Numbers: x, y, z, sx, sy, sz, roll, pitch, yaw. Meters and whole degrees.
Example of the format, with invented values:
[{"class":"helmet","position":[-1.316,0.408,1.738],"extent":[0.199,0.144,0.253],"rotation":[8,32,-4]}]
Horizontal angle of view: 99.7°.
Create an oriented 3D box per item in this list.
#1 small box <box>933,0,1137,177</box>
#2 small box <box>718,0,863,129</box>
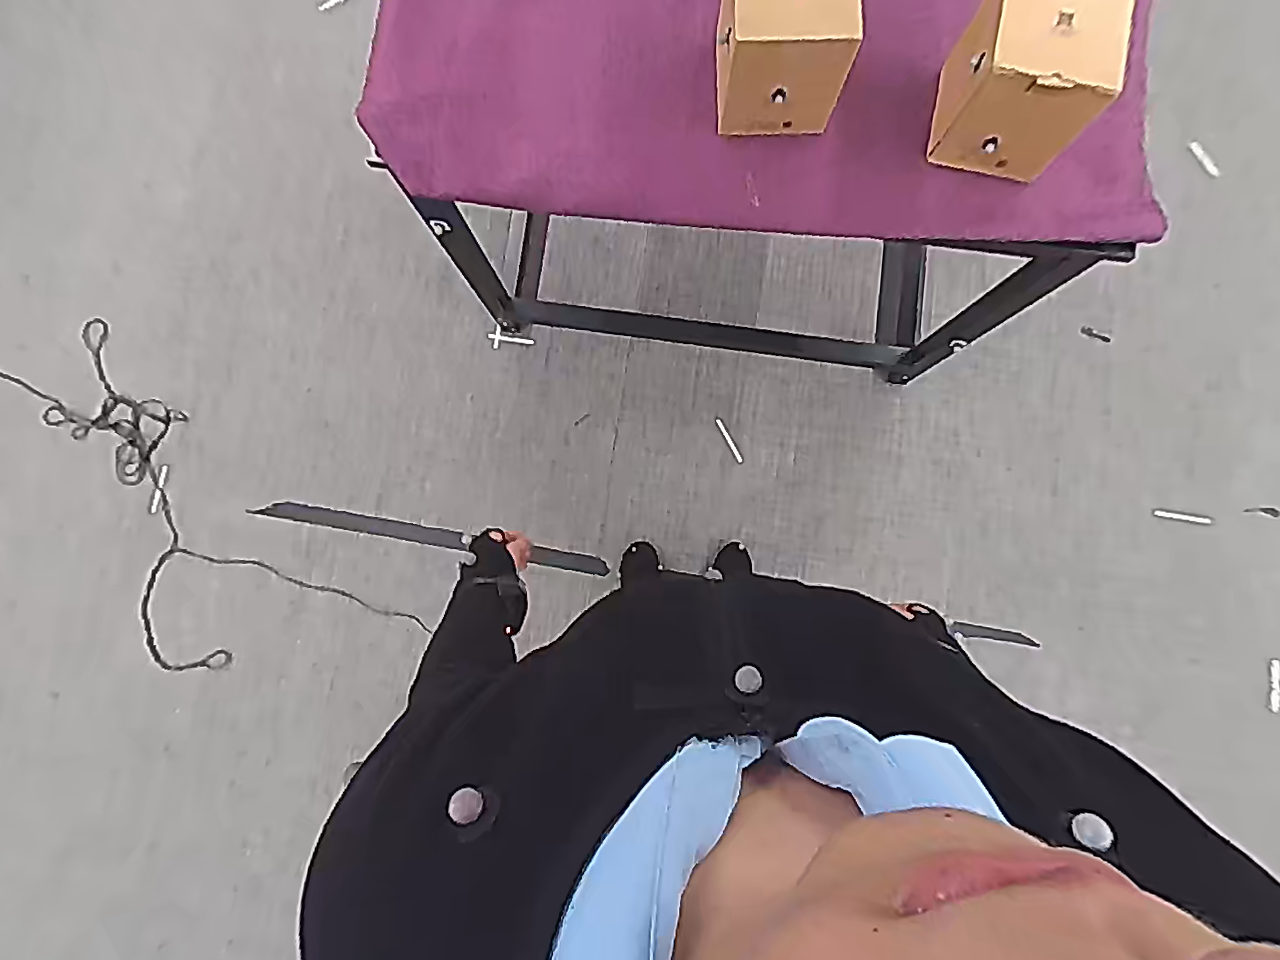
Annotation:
[{"class":"small box","position":[0.546,-0.578,0.769],"extent":[0.168,0.176,0.179],"rotation":[13,83,3]},{"class":"small box","position":[0.207,-0.642,0.782],"extent":[0.168,0.176,0.179],"rotation":[0,83,0]}]
